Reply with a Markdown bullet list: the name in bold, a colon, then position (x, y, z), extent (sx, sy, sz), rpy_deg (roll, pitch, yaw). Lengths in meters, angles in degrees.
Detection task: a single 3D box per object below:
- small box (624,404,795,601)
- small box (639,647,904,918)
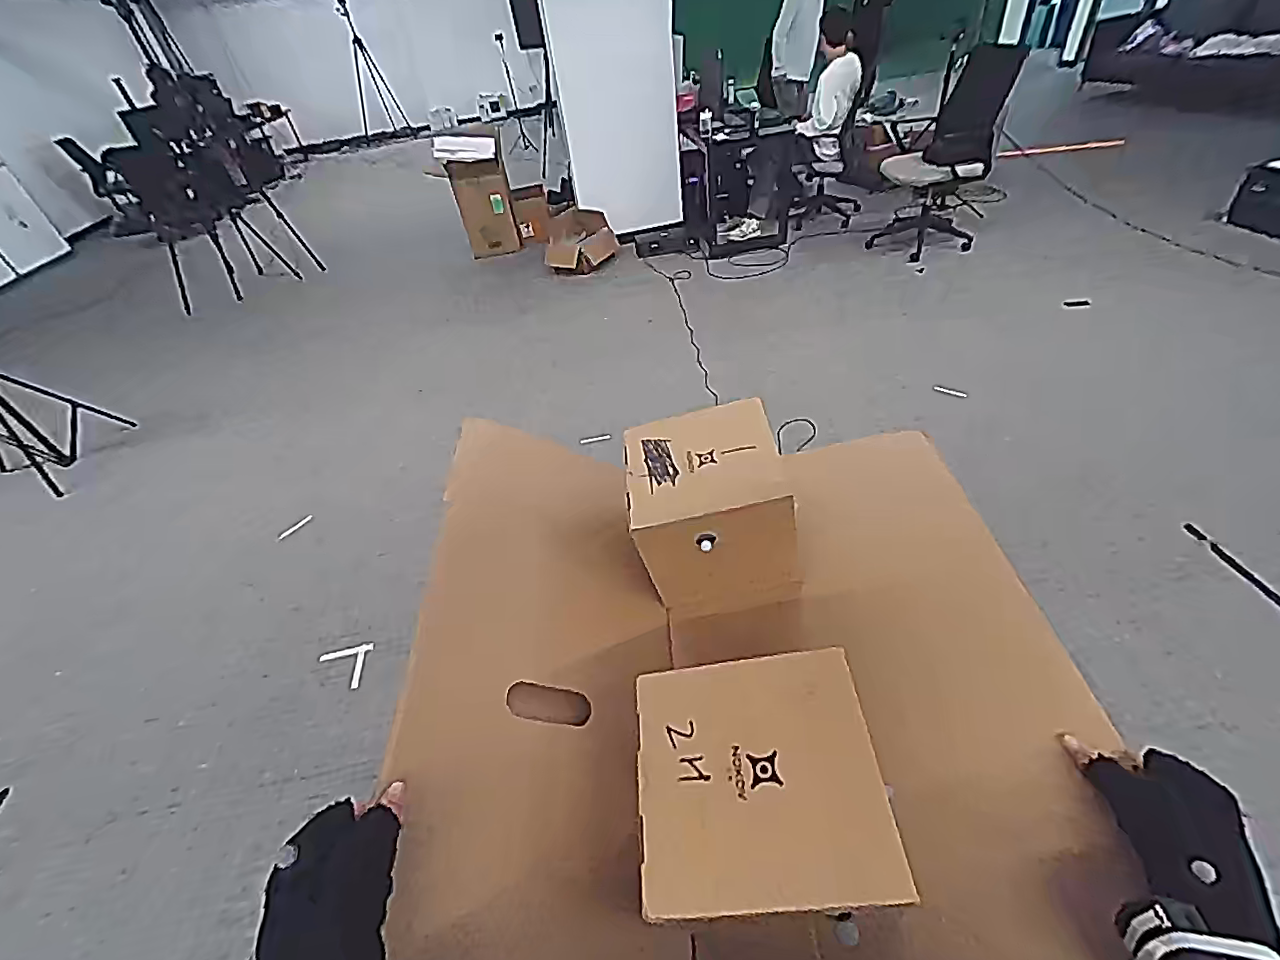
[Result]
- **small box**: position (0.088, 0.036, 0.689), extent (0.179, 0.176, 0.168), rpy_deg (-13, 46, 8)
- **small box**: position (0.105, 0.266, 0.468), extent (0.179, 0.176, 0.168), rpy_deg (-12, 46, 11)
